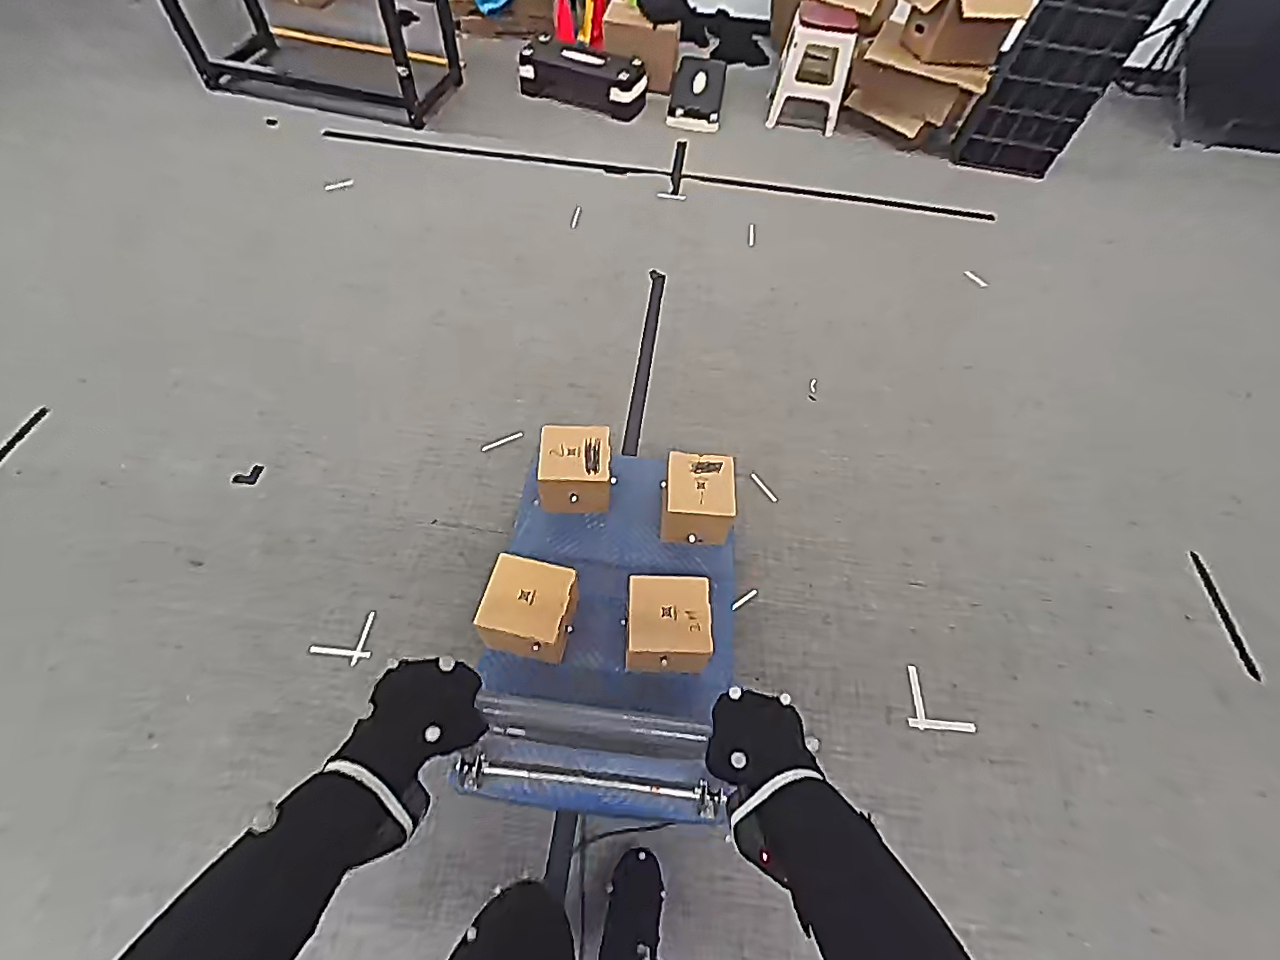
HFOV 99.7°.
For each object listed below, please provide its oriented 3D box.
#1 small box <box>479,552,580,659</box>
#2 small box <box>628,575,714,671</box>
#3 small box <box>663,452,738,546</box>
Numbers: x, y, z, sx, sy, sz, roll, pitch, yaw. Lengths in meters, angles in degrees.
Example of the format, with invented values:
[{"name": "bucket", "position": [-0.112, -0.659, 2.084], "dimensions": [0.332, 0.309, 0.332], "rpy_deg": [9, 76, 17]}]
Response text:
[{"name": "small box", "position": [-0.240, 0.287, 1.217], "dimensions": [0.179, 0.176, 0.168], "rpy_deg": [13, 57, 2]}, {"name": "small box", "position": [0.063, 0.325, 1.217], "dimensions": [0.179, 0.176, 0.168], "rpy_deg": [3, 57, -3]}, {"name": "small box", "position": [0.152, 0.052, 1.399], "dimensions": [0.168, 0.176, 0.179], "rpy_deg": [5, 58, -1]}]
